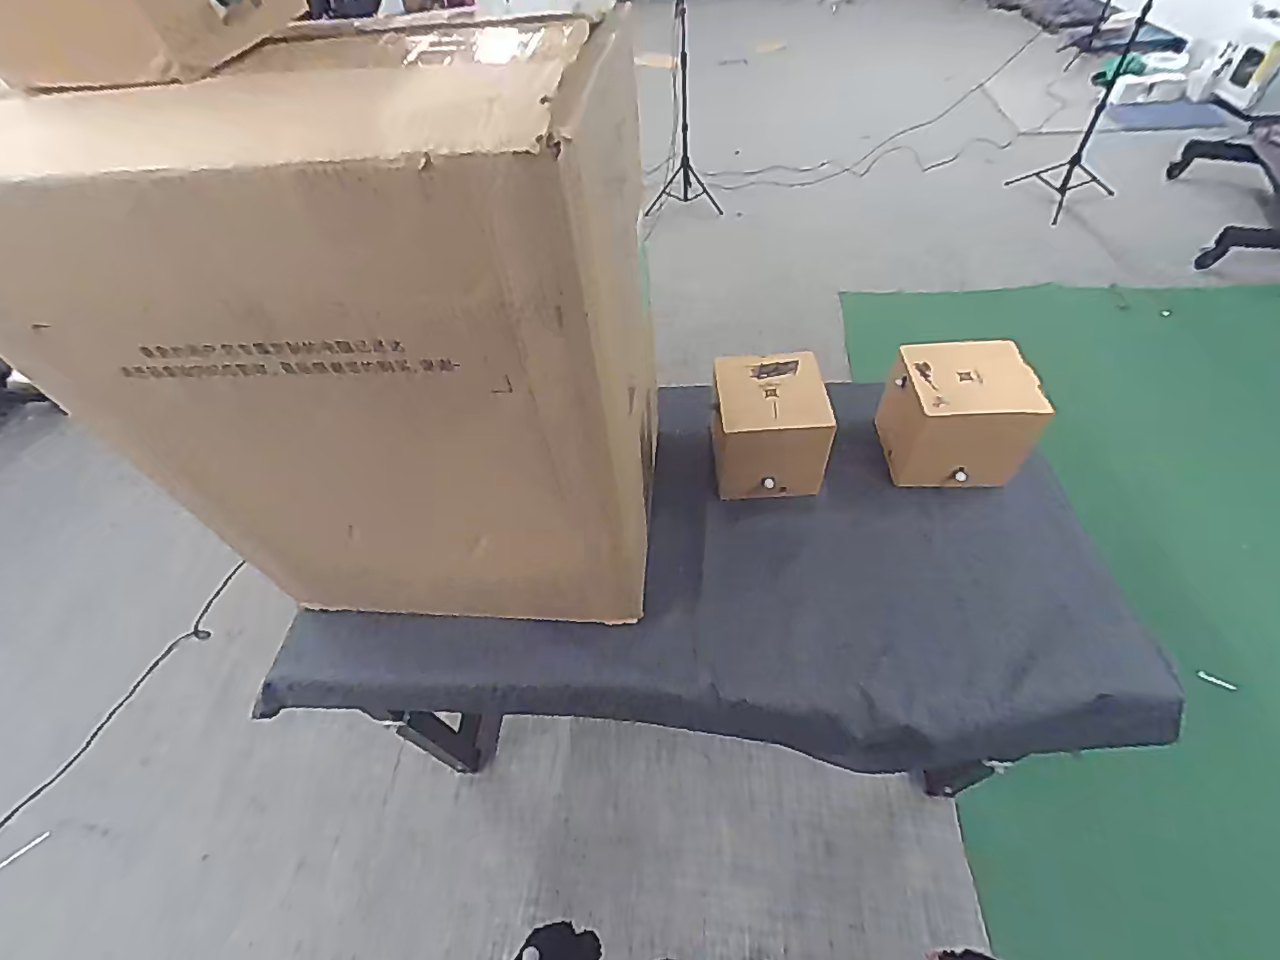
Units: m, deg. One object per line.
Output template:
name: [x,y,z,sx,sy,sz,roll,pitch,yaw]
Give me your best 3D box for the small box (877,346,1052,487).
small box: [0.515,-0.101,0.889,0.179,0.176,0.168,0,50,6]
